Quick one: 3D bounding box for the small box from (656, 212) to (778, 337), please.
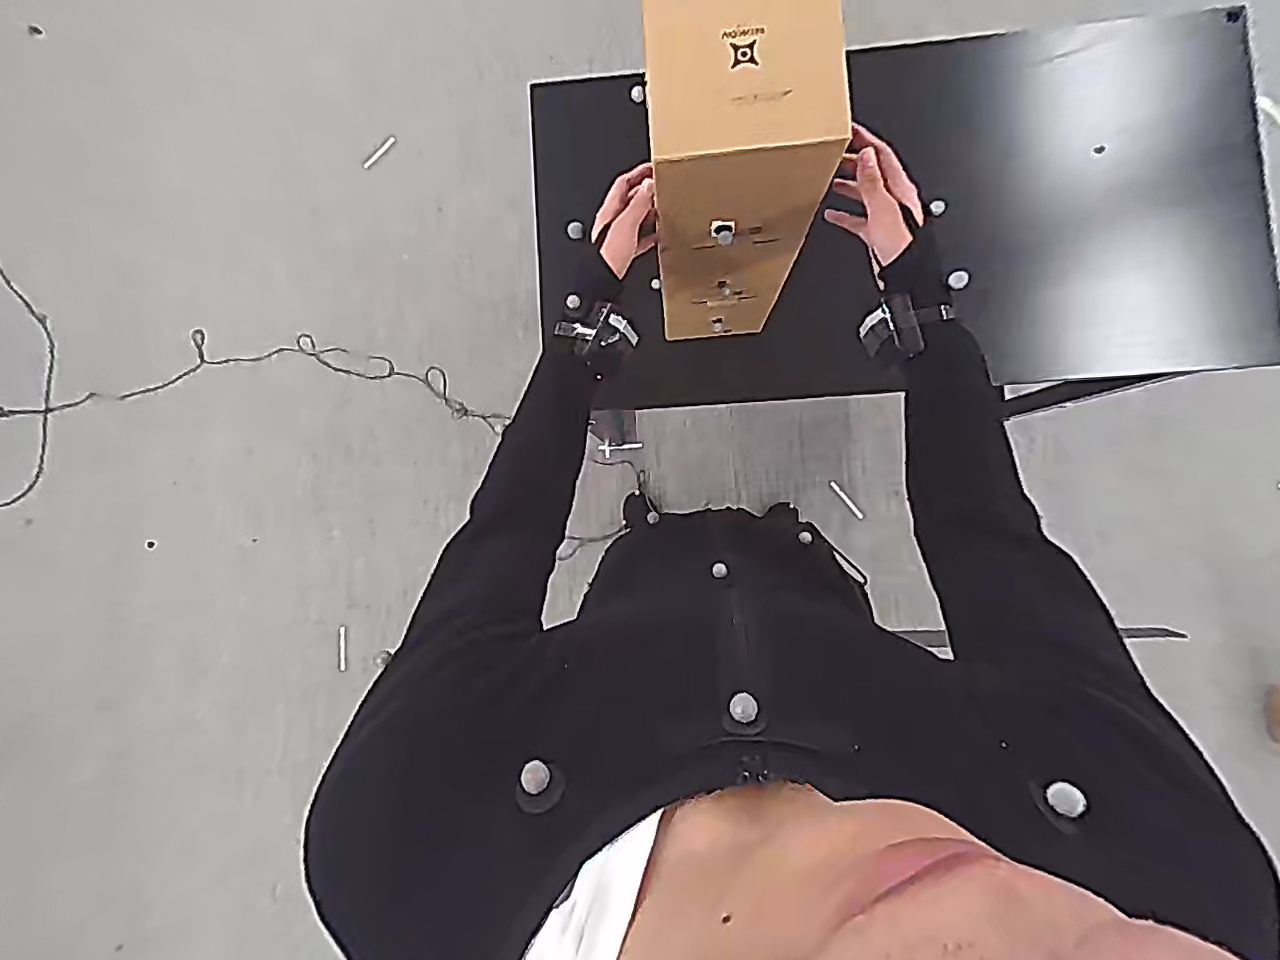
[{"bbox_3d":[0.115,-0.333,0.850,0.168,0.176,0.179,-5,87,4],"label":"small box"}]

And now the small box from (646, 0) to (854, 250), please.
[{"bbox_3d":[0.092,-0.350,0.523,0.168,0.176,0.179,-4,87,4],"label":"small box"}]

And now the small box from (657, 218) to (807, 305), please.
[{"bbox_3d":[0.104,-0.343,0.685,0.168,0.176,0.179,-4,87,4],"label":"small box"}]
